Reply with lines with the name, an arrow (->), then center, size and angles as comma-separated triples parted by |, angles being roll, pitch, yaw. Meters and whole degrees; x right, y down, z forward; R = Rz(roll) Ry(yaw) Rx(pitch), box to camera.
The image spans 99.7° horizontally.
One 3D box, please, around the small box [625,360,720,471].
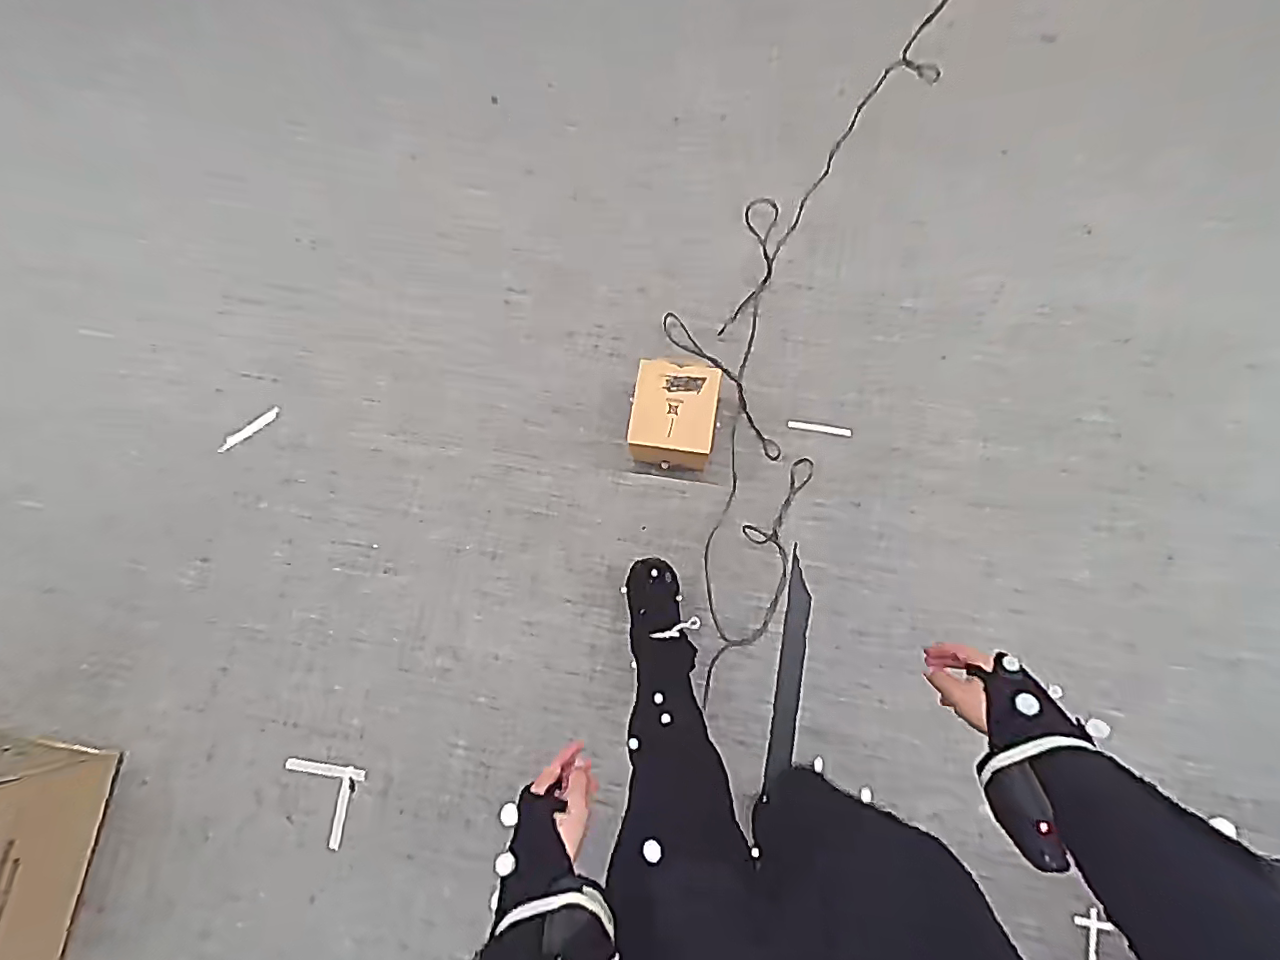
small box -> 0.067, -0.129, 1.136 | 0.168, 0.176, 0.179 | 9, 81, 5
